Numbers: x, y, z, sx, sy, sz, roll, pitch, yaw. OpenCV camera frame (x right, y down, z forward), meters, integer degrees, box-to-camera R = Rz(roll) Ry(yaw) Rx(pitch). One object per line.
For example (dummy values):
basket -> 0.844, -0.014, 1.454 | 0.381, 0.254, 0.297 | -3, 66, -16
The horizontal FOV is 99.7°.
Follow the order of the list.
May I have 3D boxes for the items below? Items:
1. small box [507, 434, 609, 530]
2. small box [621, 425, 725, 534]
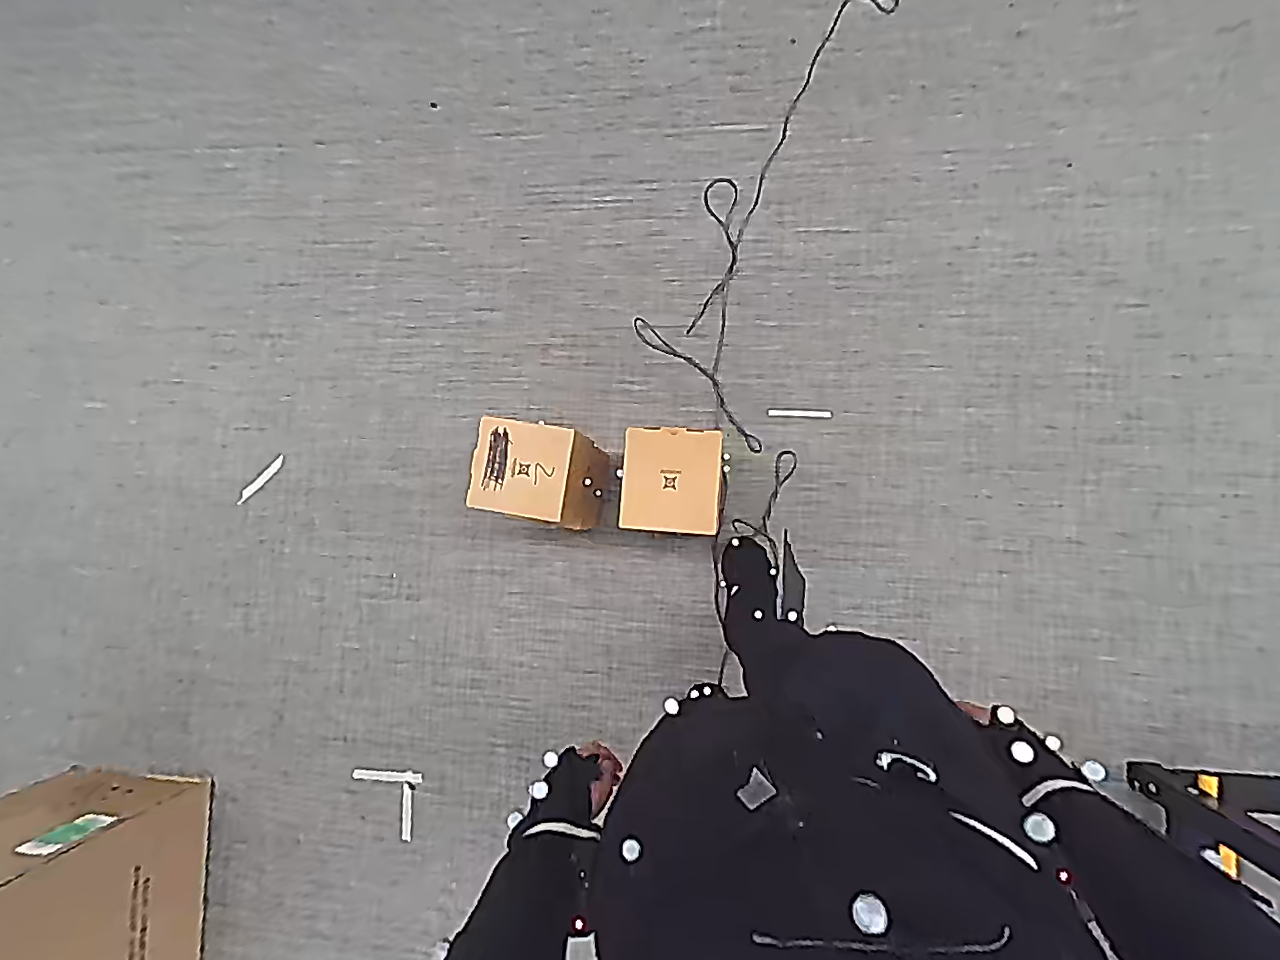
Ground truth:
small box -> -0.170, 0.006, 1.180 | 0.168, 0.176, 0.179 | 9, 89, 8
small box -> 0.067, 0.003, 0.985 | 0.168, 0.176, 0.179 | 4, 86, 9
